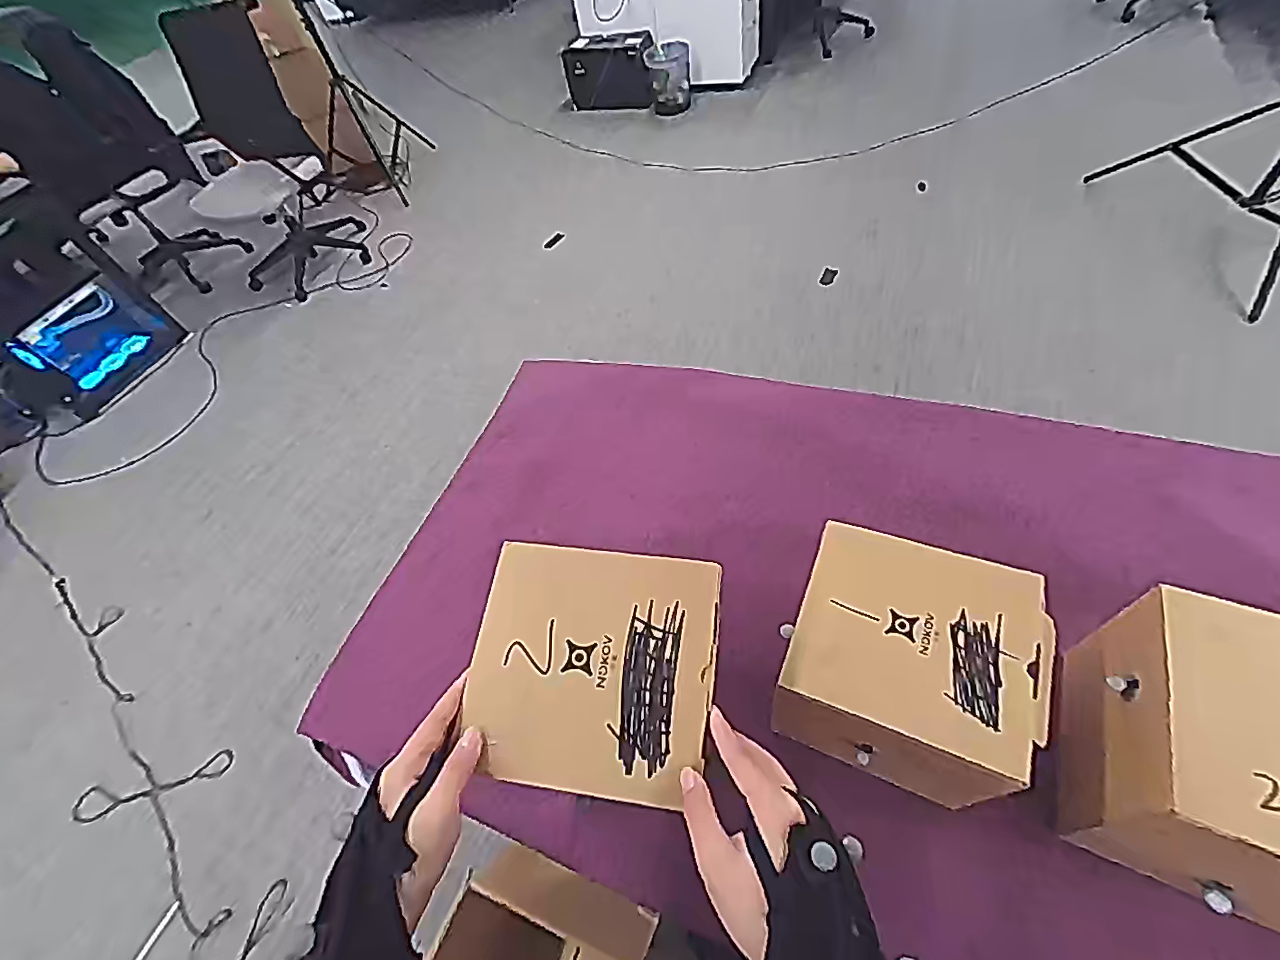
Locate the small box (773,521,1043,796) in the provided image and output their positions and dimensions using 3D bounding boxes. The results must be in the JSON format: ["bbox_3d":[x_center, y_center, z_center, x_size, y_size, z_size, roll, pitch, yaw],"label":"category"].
[{"bbox_3d":[0.231,0.167,0.497,0.179,0.176,0.168,15,59,23],"label":"small box"}]
